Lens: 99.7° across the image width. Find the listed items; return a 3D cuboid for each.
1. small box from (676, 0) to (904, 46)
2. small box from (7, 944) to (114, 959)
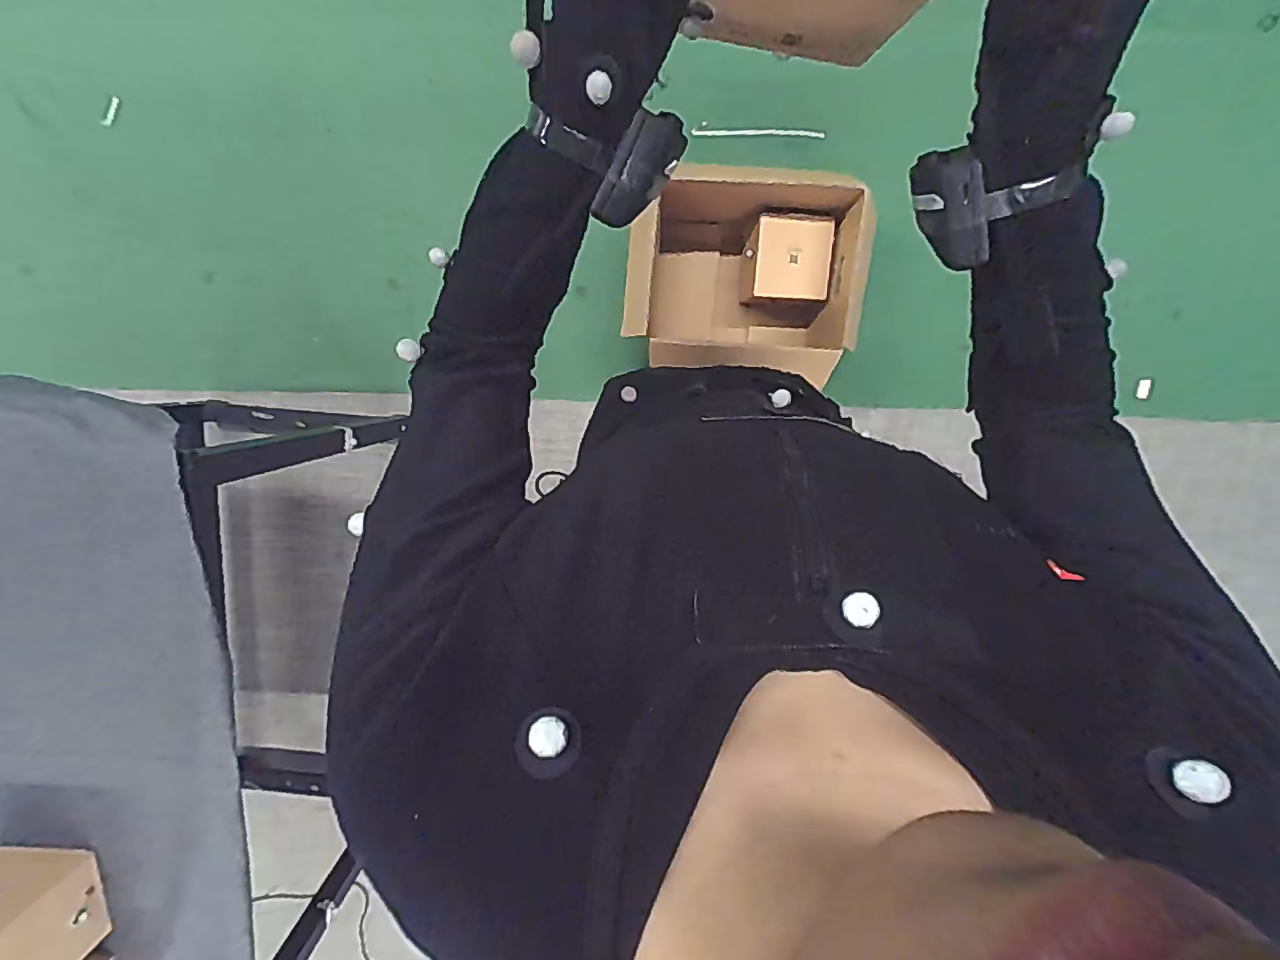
[{"bbox_3d":[0.101,-0.378,0.287,0.168,0.176,0.179,5,104,-7],"label":"small box"},{"bbox_3d":[-1.016,0.911,0.883,0.179,0.176,0.168,4,101,2],"label":"small box"}]
